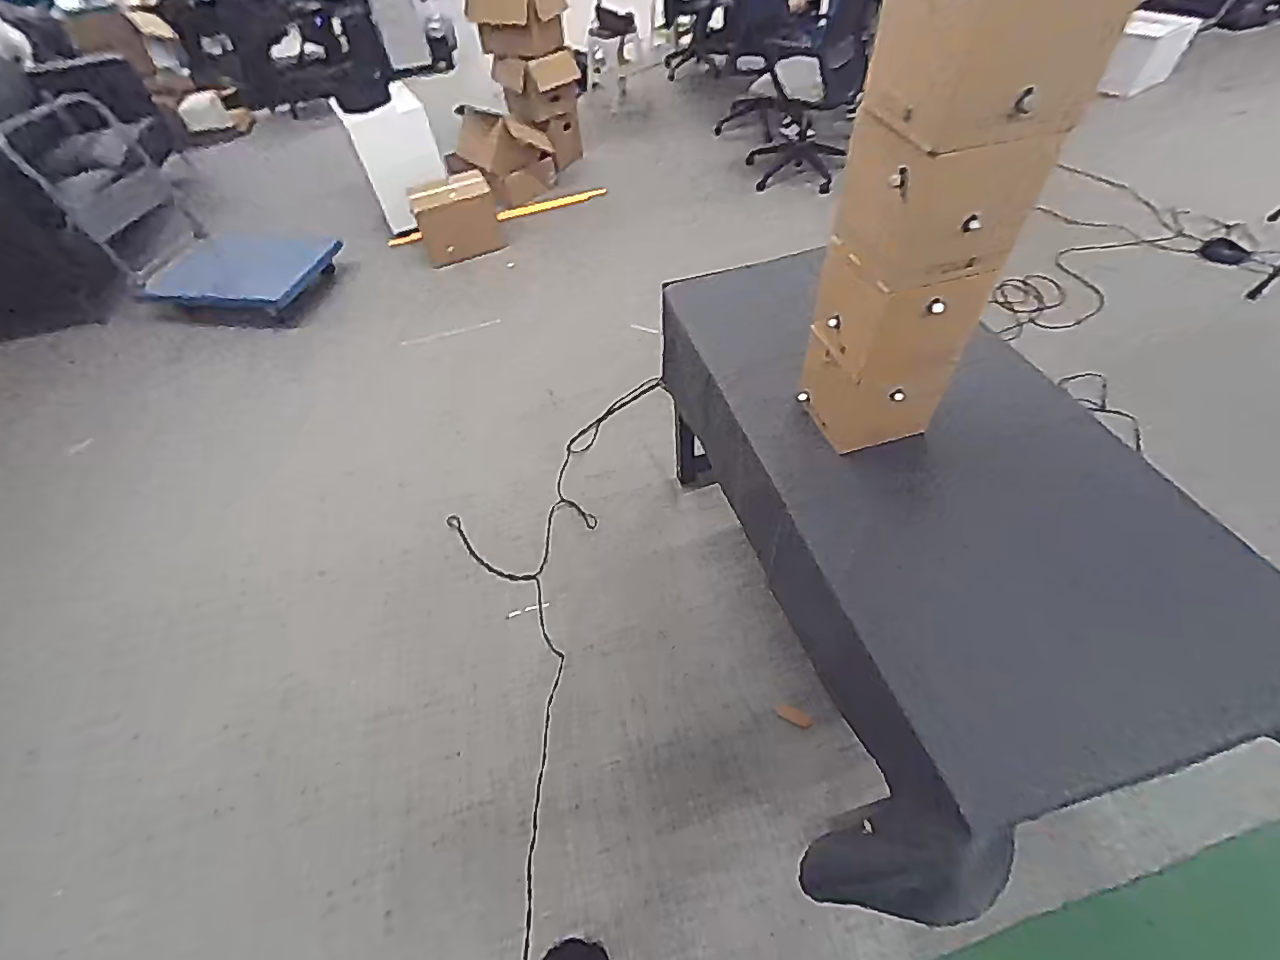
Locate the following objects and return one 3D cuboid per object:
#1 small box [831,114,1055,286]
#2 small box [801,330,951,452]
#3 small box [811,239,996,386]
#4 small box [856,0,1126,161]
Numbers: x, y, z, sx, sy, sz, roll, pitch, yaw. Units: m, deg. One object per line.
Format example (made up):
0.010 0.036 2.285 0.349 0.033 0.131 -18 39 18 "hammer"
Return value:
0.376 -0.374 0.713 0.168 0.176 0.179 -14 51 -6 "small box"
0.404 -0.172 0.968 0.179 0.176 0.168 -15 51 -7 "small box"
0.392 -0.273 0.842 0.179 0.176 0.168 -15 51 -6 "small box"
0.365 -0.473 0.583 0.179 0.176 0.168 -13 51 -5 "small box"
